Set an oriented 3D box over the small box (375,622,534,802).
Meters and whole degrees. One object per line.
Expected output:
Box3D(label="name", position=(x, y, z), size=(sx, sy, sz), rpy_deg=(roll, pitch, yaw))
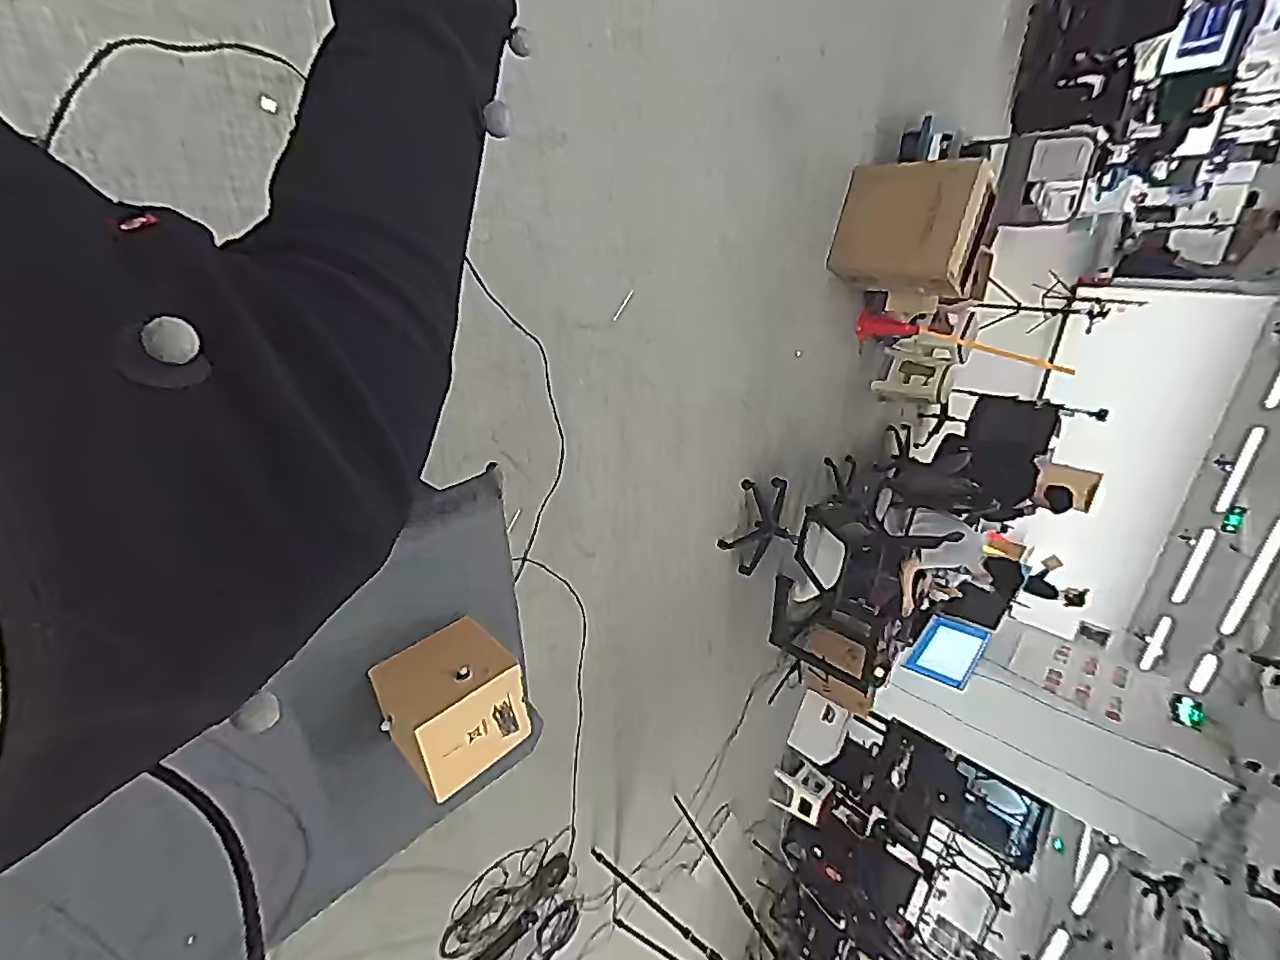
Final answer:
Box3D(label="small box", position=(-0.303, 0.367, 0.892), size=(0.179, 0.176, 0.168), rpy_deg=(-26, 124, -39))
